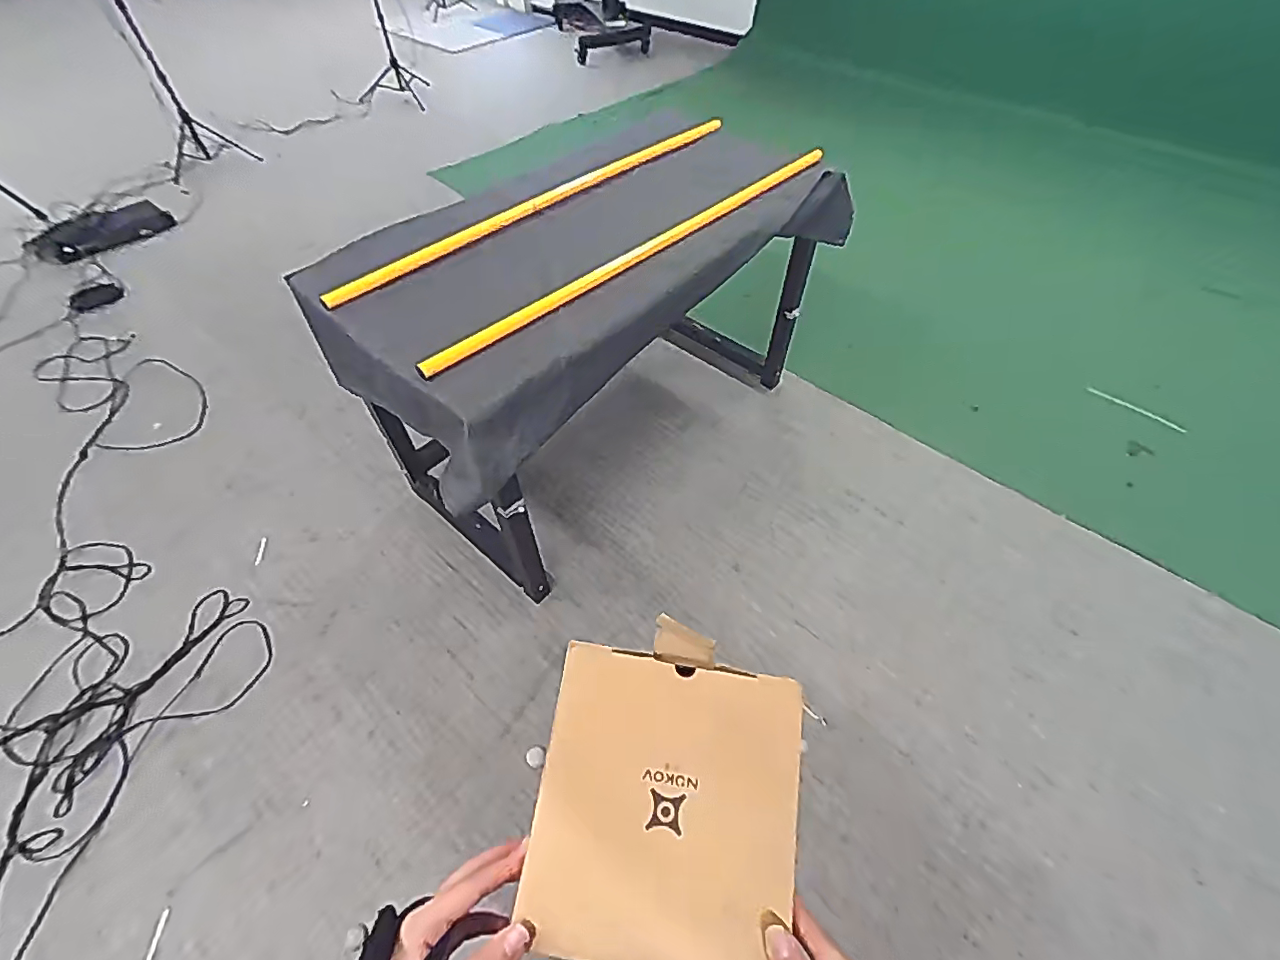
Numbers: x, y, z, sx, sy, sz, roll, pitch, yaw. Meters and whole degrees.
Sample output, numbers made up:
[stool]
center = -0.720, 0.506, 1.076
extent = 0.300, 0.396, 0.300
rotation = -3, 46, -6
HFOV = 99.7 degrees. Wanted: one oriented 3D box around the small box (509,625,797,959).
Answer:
[small box]
center = 0.014, 0.225, 0.421
extent = 0.168, 0.176, 0.179
rotation = 9, 67, 3
